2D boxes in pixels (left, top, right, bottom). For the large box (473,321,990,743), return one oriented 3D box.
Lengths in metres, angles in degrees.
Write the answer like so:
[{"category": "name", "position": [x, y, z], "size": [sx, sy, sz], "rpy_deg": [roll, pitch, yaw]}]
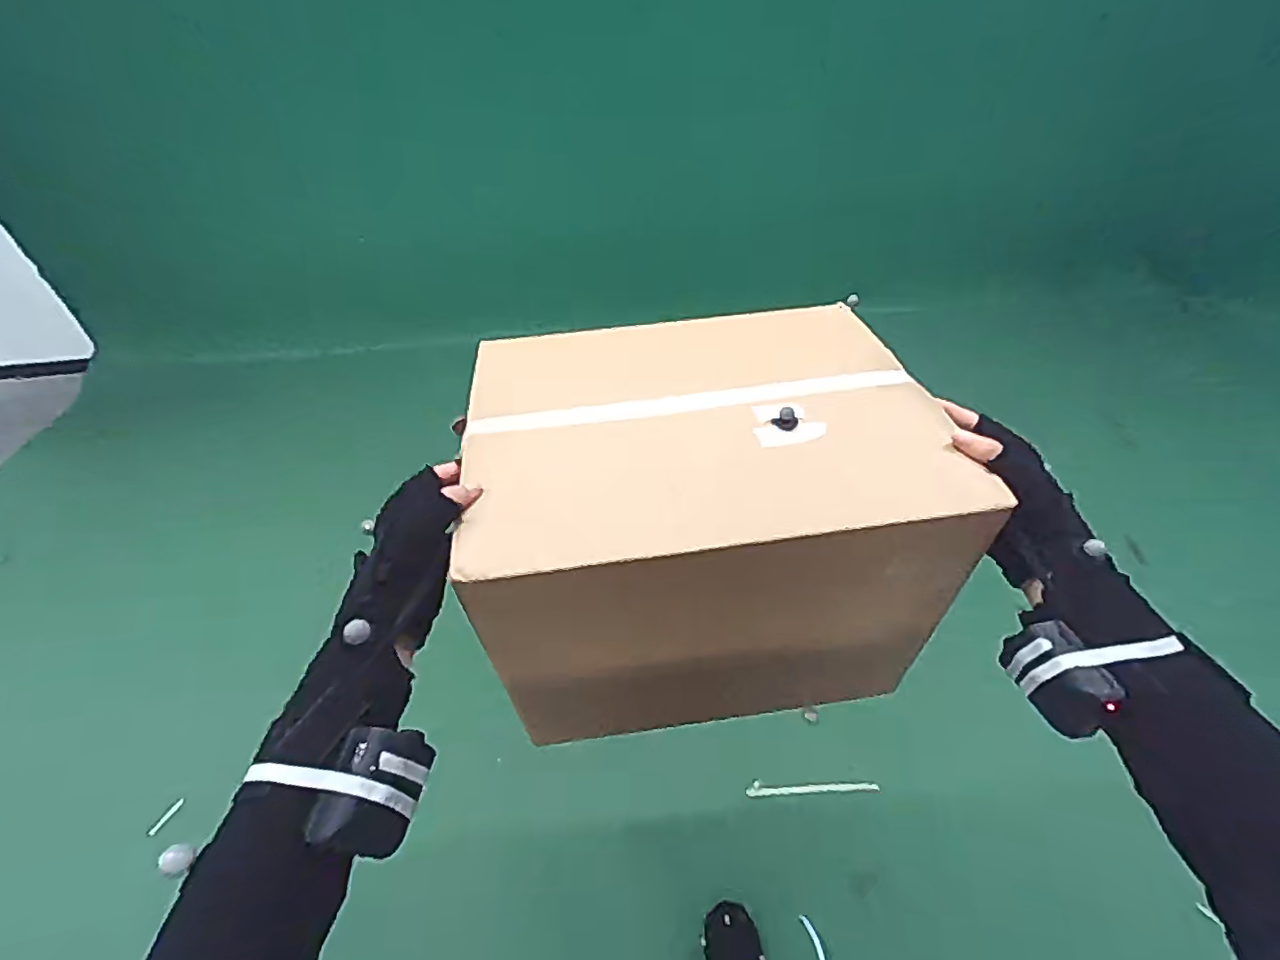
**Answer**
[{"category": "large box", "position": [0.057, 0.051, 0.604], "size": [0.408, 0.320, 0.320], "rpy_deg": [-7, 45, -5]}]
